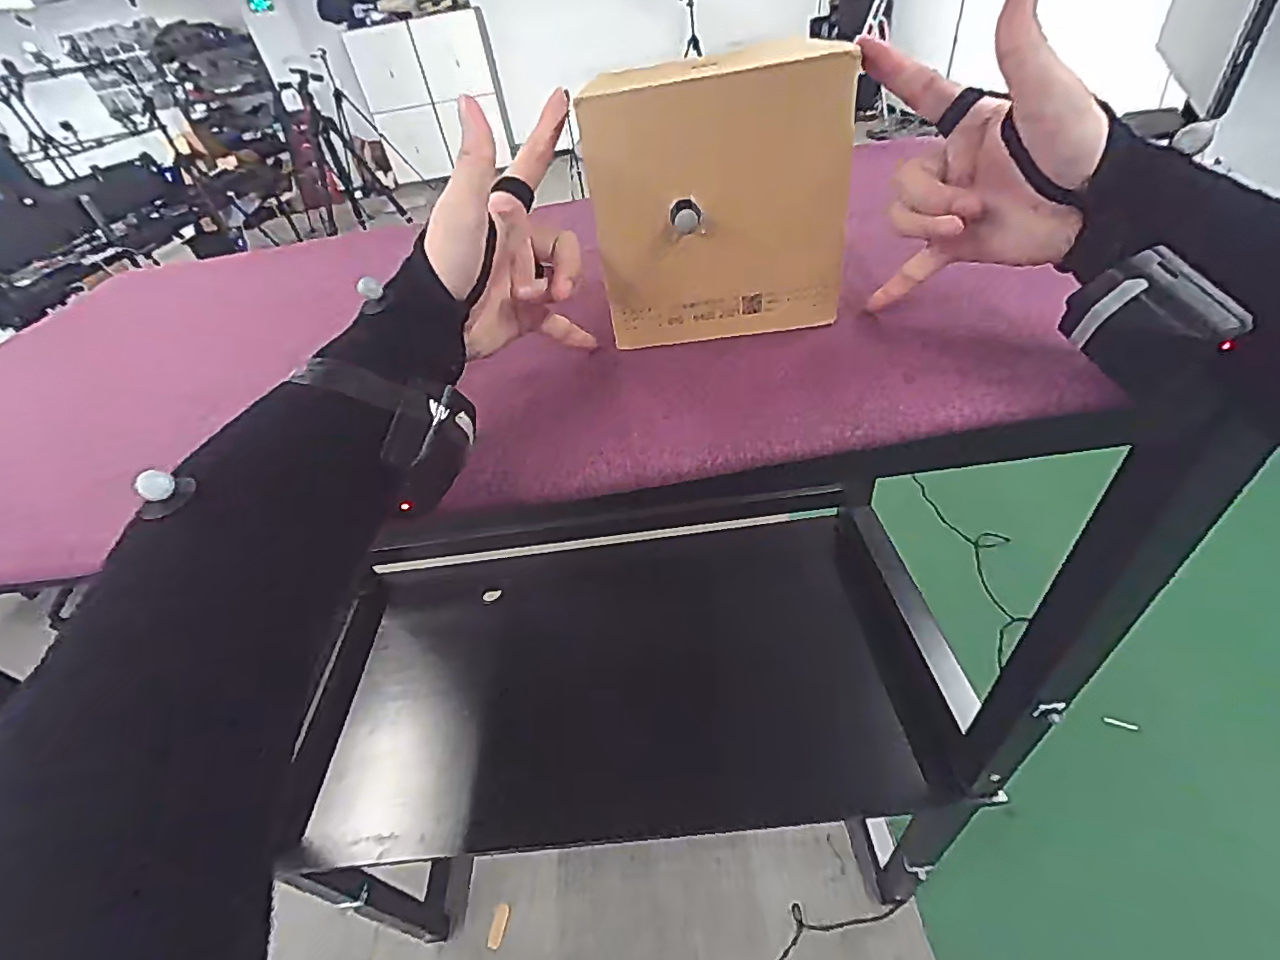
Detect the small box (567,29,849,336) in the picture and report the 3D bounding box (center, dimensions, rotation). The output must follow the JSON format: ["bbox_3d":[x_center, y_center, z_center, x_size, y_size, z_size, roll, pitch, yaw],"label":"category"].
[{"bbox_3d":[0.052,-0.222,0.419,0.168,0.176,0.179,-6,40,7],"label":"small box"}]
